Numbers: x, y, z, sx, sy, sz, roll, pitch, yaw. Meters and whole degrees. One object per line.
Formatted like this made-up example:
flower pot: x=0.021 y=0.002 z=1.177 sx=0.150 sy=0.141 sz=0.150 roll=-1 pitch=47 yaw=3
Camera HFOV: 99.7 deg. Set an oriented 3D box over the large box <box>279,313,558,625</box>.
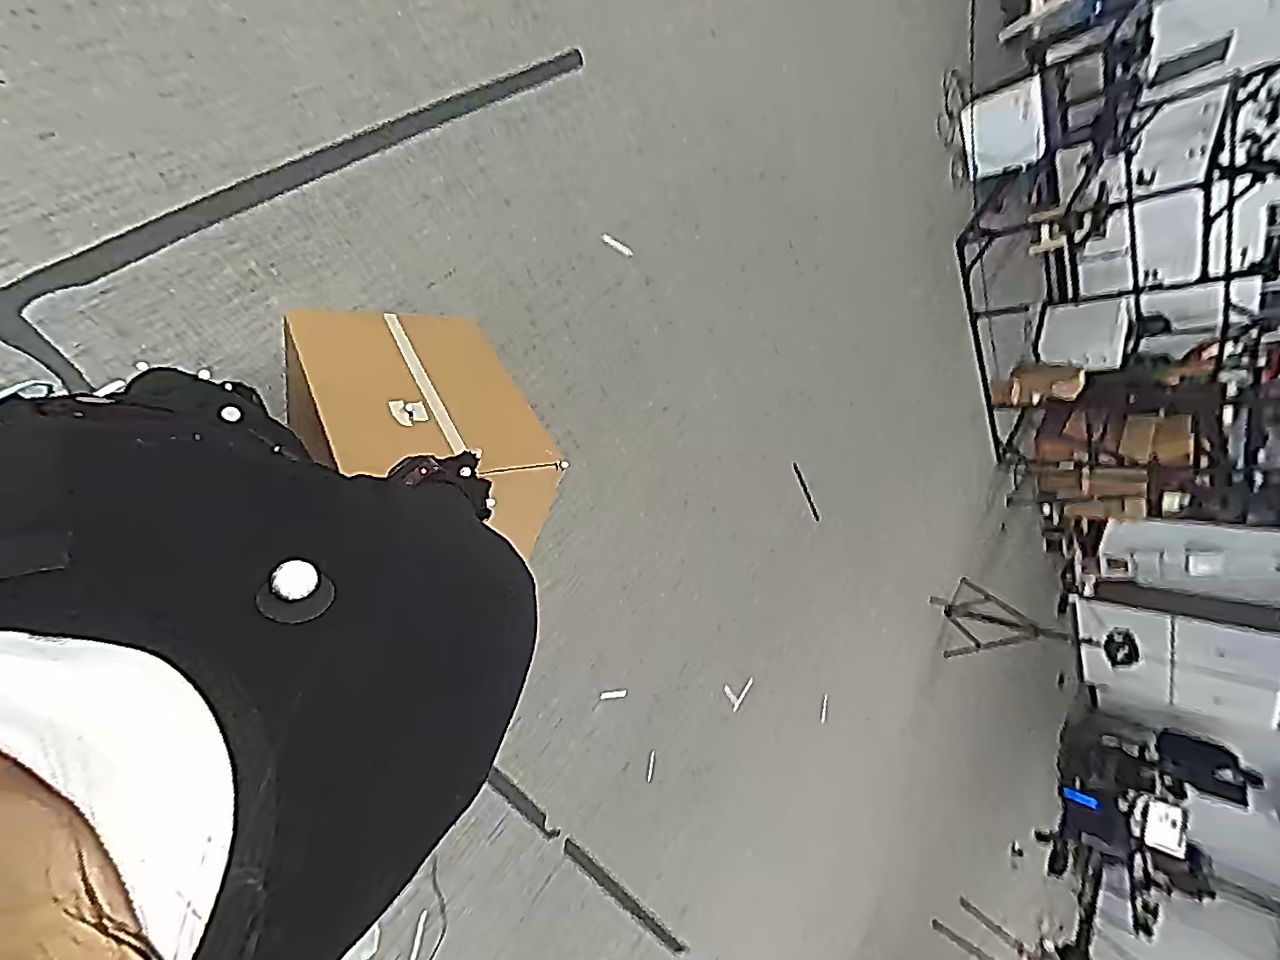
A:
large box: x=-0.401 y=-0.032 z=0.931 sx=0.320 sy=0.408 sz=0.320 roll=-9 pitch=143 yaw=-37
